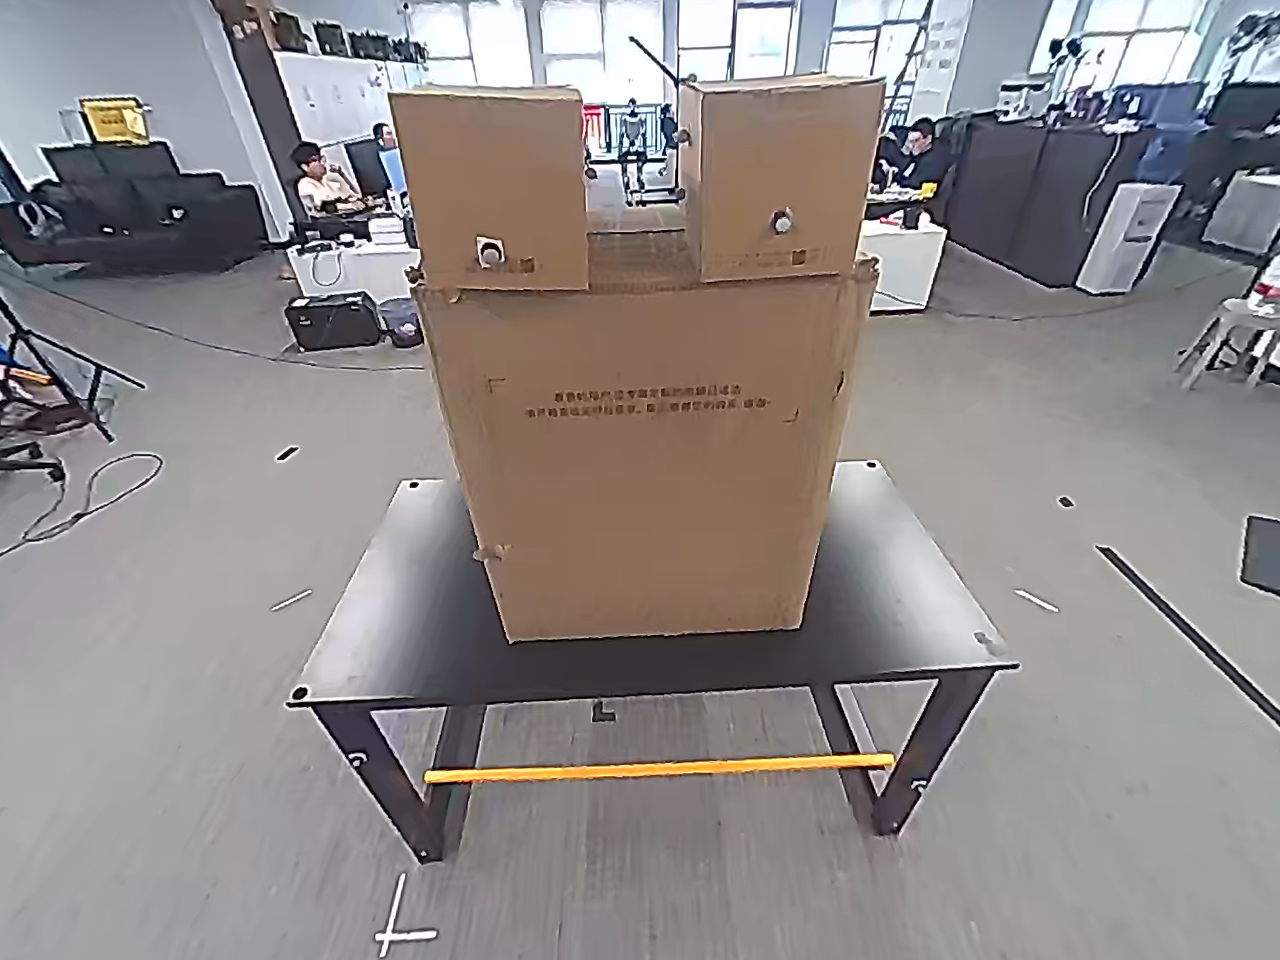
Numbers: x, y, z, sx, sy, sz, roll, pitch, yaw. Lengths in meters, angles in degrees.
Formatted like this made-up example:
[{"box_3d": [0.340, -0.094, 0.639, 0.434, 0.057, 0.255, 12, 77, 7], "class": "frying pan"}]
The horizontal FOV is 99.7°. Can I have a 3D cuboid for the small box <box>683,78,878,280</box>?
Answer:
[{"box_3d": [0.135, -0.333, 0.599, 0.168, 0.176, 0.179, -4, 39, 1], "class": "small box"}]
